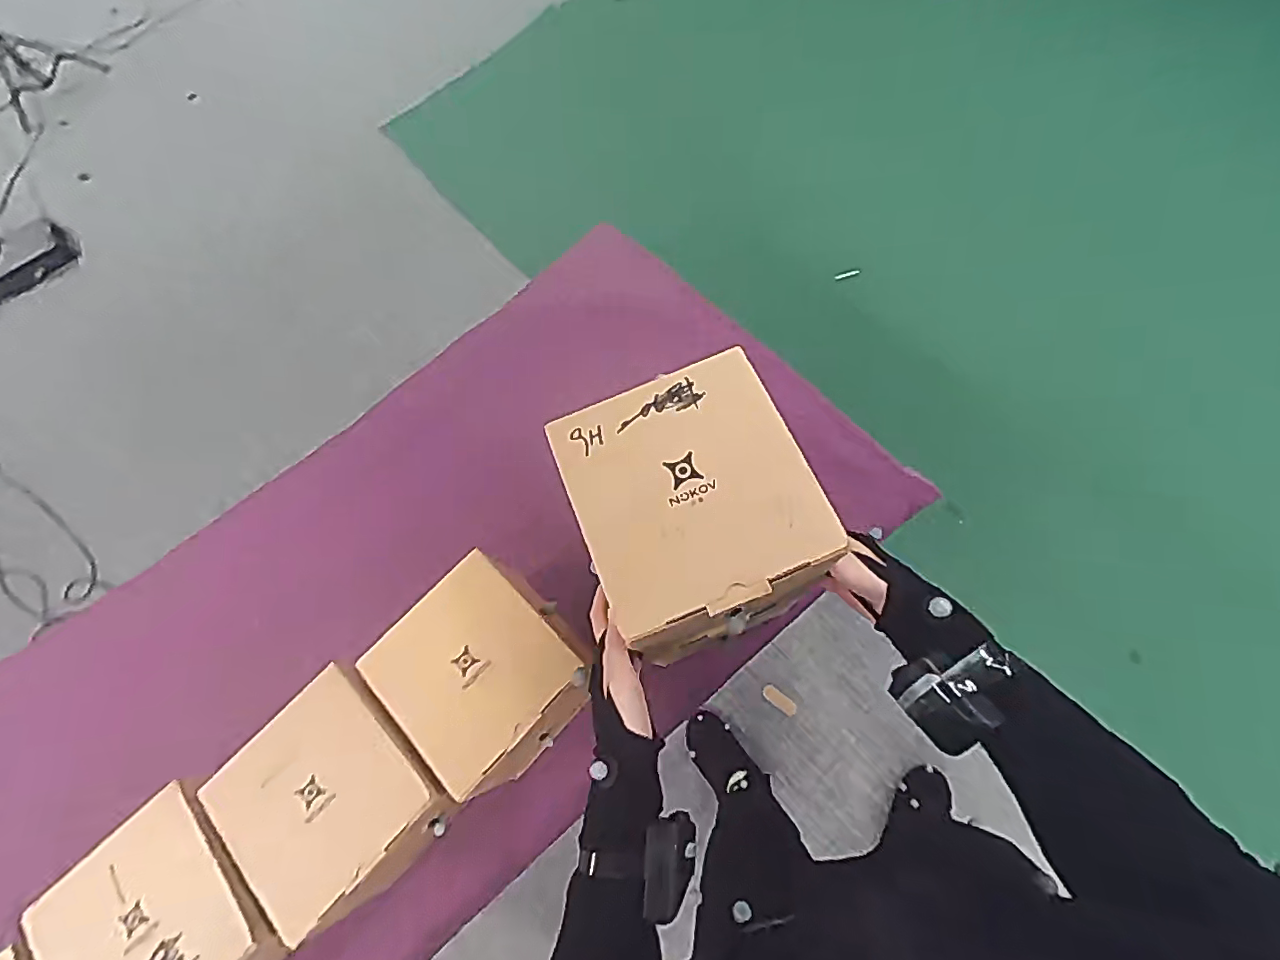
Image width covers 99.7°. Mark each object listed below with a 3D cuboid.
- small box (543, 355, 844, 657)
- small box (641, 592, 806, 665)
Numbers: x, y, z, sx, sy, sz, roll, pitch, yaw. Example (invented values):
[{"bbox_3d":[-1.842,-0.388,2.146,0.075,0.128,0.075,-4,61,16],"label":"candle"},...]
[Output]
[{"bbox_3d":[0.041,0.034,0.453,0.168,0.176,0.179,-22,70,-1],"label":"small box"},{"bbox_3d":[0.059,0.094,0.605,0.168,0.176,0.179,-23,70,-1],"label":"small box"}]
